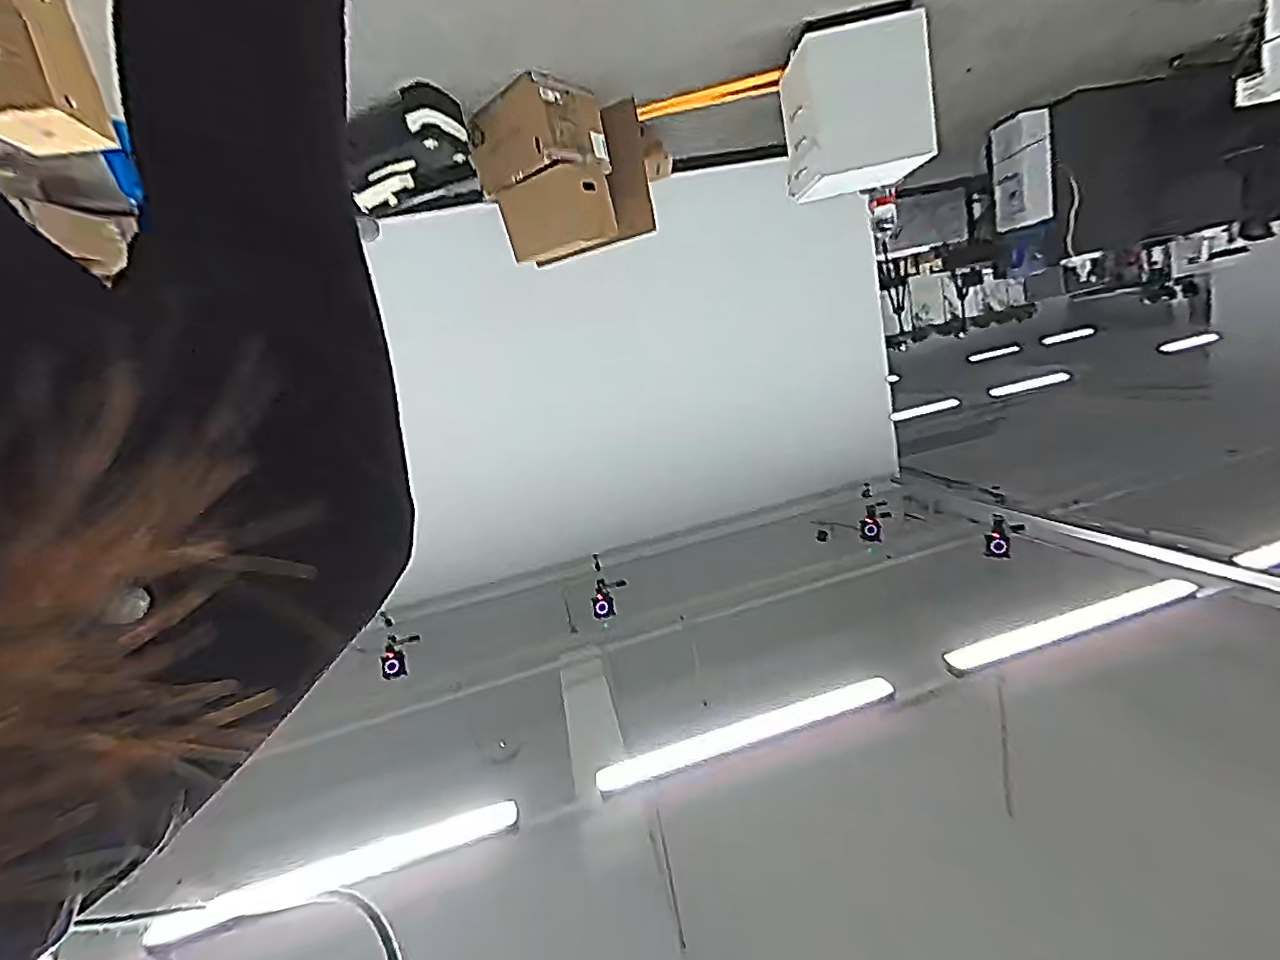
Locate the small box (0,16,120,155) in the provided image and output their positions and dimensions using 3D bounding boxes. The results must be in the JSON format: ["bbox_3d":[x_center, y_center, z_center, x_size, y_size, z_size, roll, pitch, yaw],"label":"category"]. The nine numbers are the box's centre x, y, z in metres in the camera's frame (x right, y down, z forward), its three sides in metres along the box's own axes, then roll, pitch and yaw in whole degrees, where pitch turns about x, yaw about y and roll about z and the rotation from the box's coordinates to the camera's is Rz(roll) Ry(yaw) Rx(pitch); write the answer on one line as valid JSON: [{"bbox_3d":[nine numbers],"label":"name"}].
[{"bbox_3d":[-1.235,-0.792,1.096,0.168,0.176,0.179,-13,-167,-10],"label":"small box"}]
